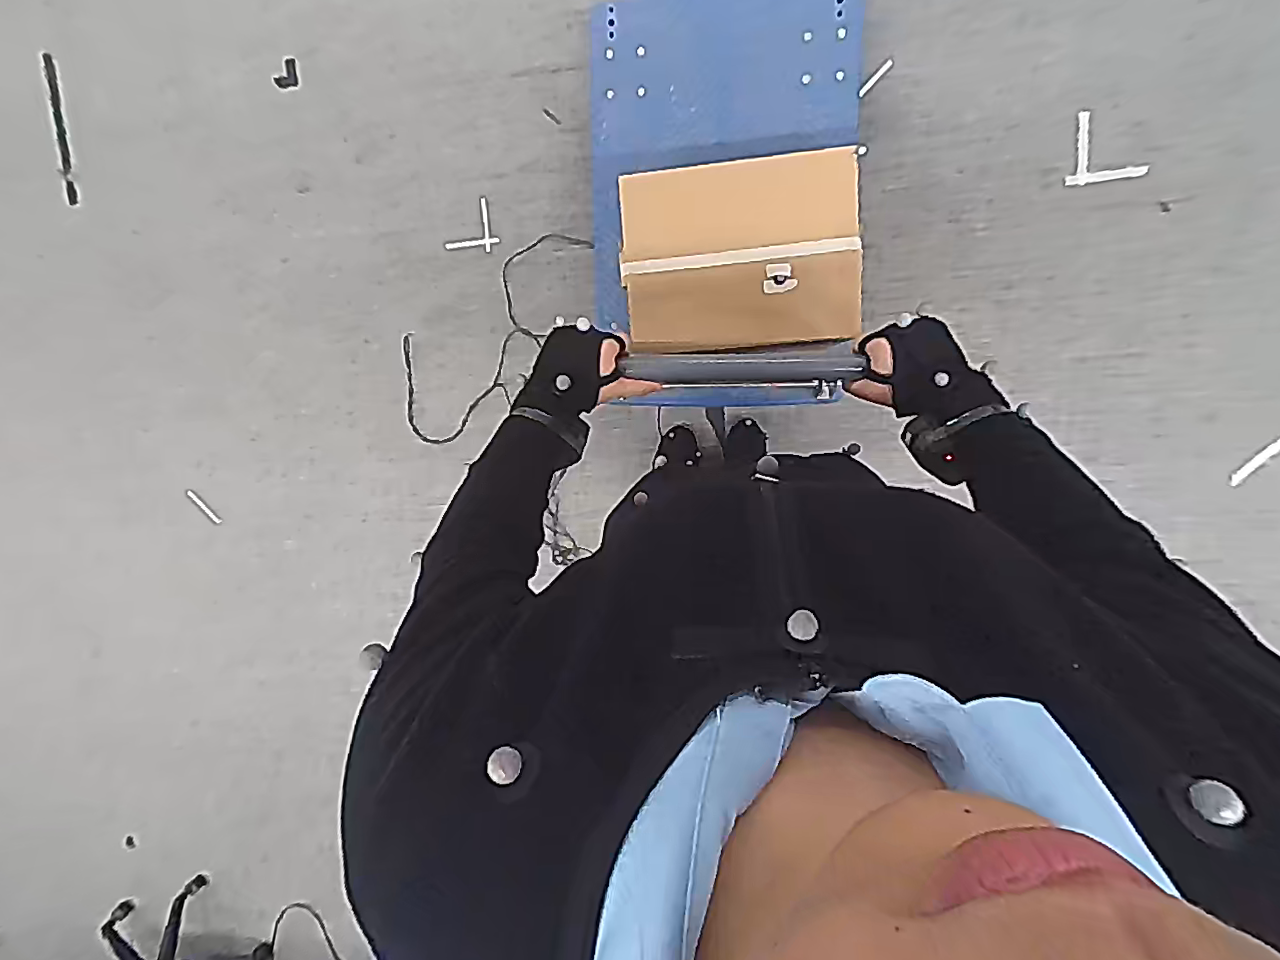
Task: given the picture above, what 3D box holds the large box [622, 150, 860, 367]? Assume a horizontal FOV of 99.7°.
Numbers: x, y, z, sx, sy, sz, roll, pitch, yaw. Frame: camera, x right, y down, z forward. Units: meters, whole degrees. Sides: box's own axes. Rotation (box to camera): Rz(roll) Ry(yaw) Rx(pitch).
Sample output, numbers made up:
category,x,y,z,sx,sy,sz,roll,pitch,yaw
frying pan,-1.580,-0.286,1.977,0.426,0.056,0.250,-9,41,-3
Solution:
category,x,y,z,sx,sy,sz,roll,pitch,yaw
large box,0.191,-0.412,1.097,0.408,0.320,0.320,-4,99,6
